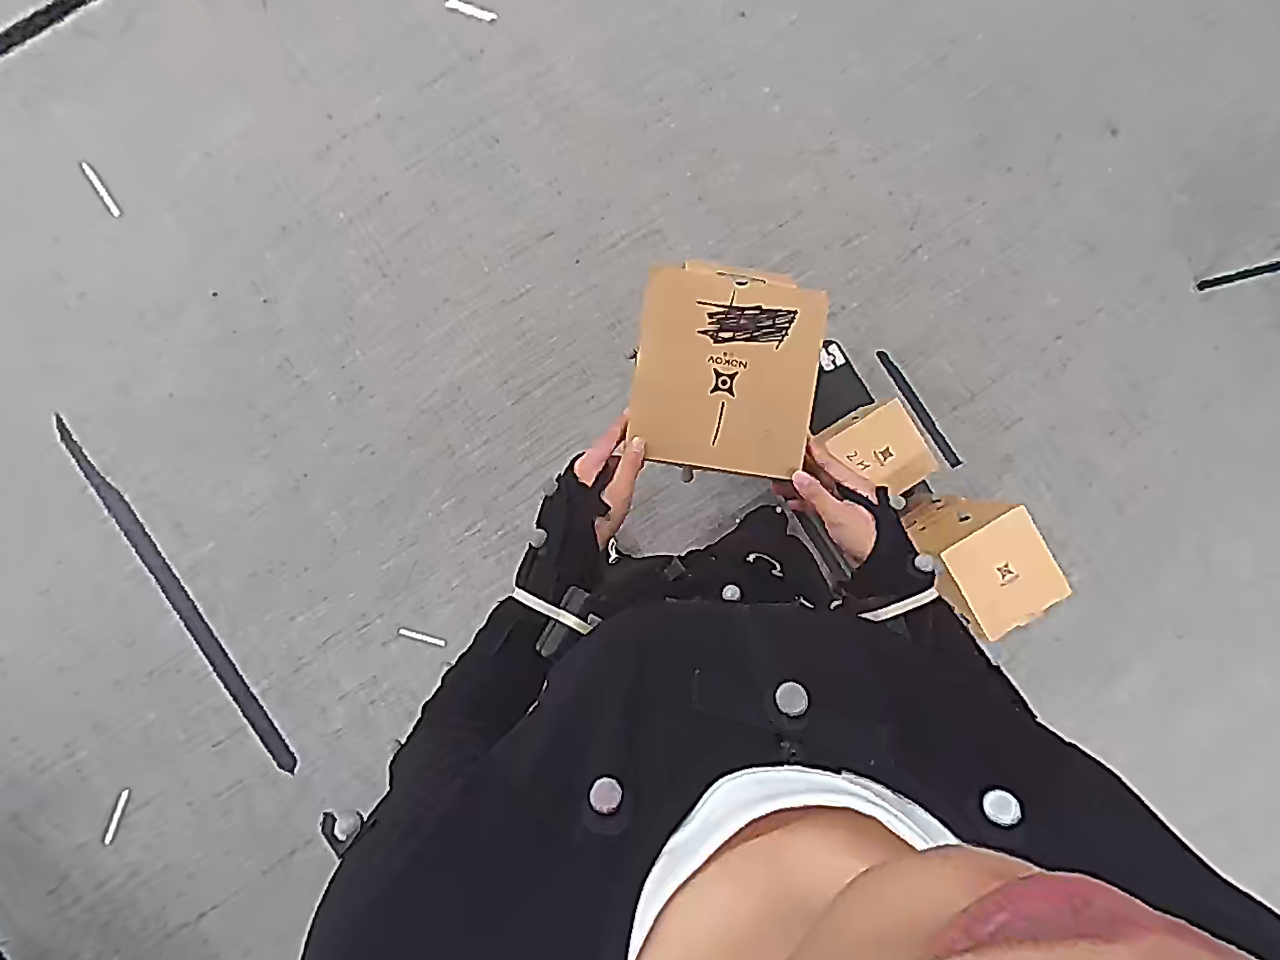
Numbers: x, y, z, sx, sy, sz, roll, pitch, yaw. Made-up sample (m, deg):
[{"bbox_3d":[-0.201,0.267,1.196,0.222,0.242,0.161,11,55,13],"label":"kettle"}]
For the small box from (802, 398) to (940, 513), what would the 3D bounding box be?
[{"bbox_3d":[0.467,-0.048,1.125,0.179,0.176,0.168,-32,91,-2],"label":"small box"}]

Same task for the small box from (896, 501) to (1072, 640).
[{"bbox_3d":[0.598,0.150,0.966,0.168,0.176,0.179,-30,92,-2],"label":"small box"}]

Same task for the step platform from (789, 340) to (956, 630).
[{"bbox_3d":[0.520,0.012,1.300,0.286,0.204,0.684,-33,90,-2],"label":"step platform"}]

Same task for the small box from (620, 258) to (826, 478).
[{"bbox_3d":[0.071,-0.101,0.561,0.168,0.176,0.179,8,92,-3],"label":"small box"}]
